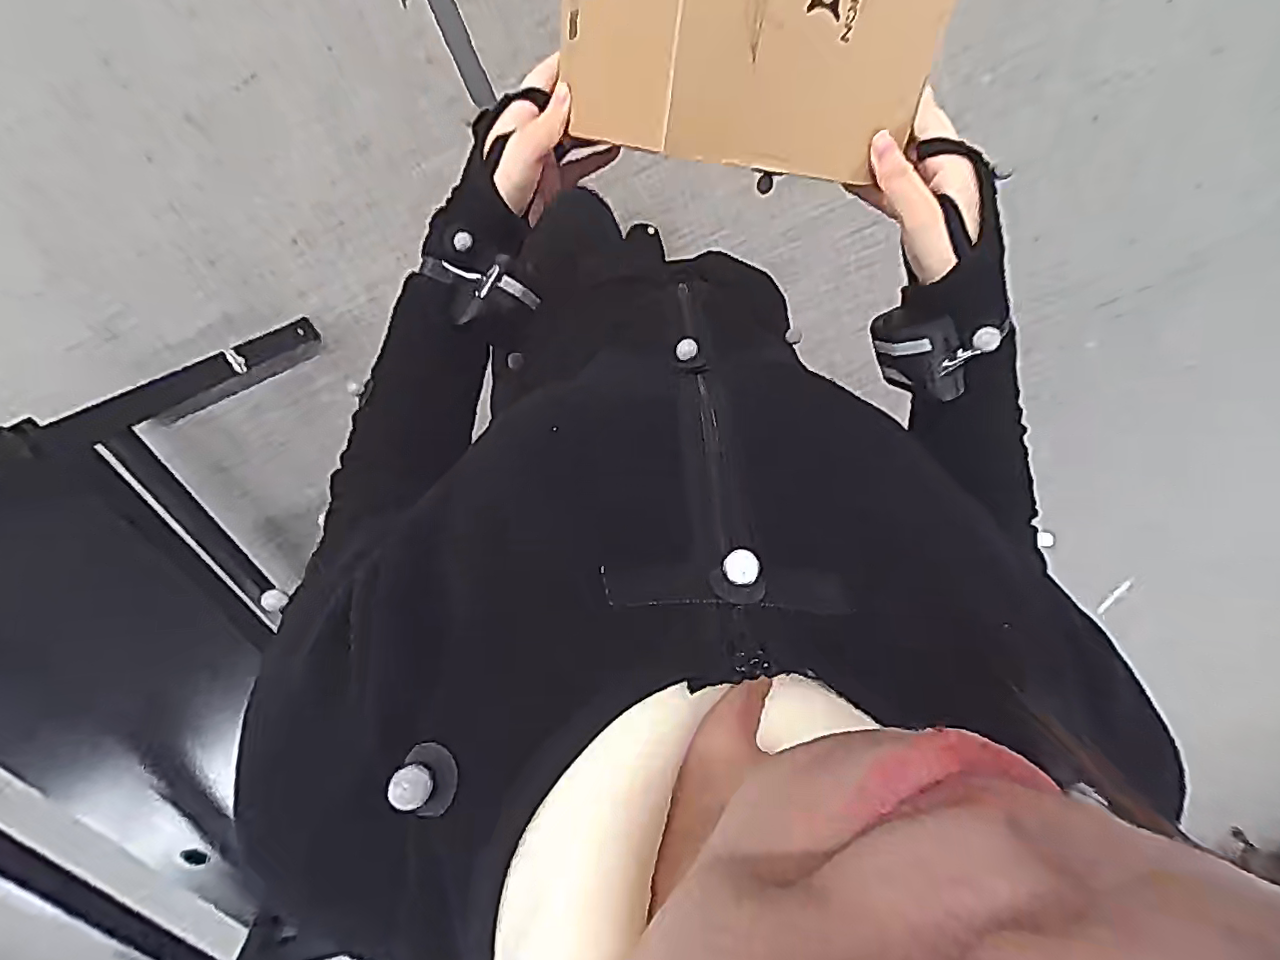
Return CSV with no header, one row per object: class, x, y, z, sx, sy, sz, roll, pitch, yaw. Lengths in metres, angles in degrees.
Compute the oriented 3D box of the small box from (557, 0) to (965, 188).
small box,0.066,-0.287,0.321,0.179,0.176,0.168,-8,126,-26
